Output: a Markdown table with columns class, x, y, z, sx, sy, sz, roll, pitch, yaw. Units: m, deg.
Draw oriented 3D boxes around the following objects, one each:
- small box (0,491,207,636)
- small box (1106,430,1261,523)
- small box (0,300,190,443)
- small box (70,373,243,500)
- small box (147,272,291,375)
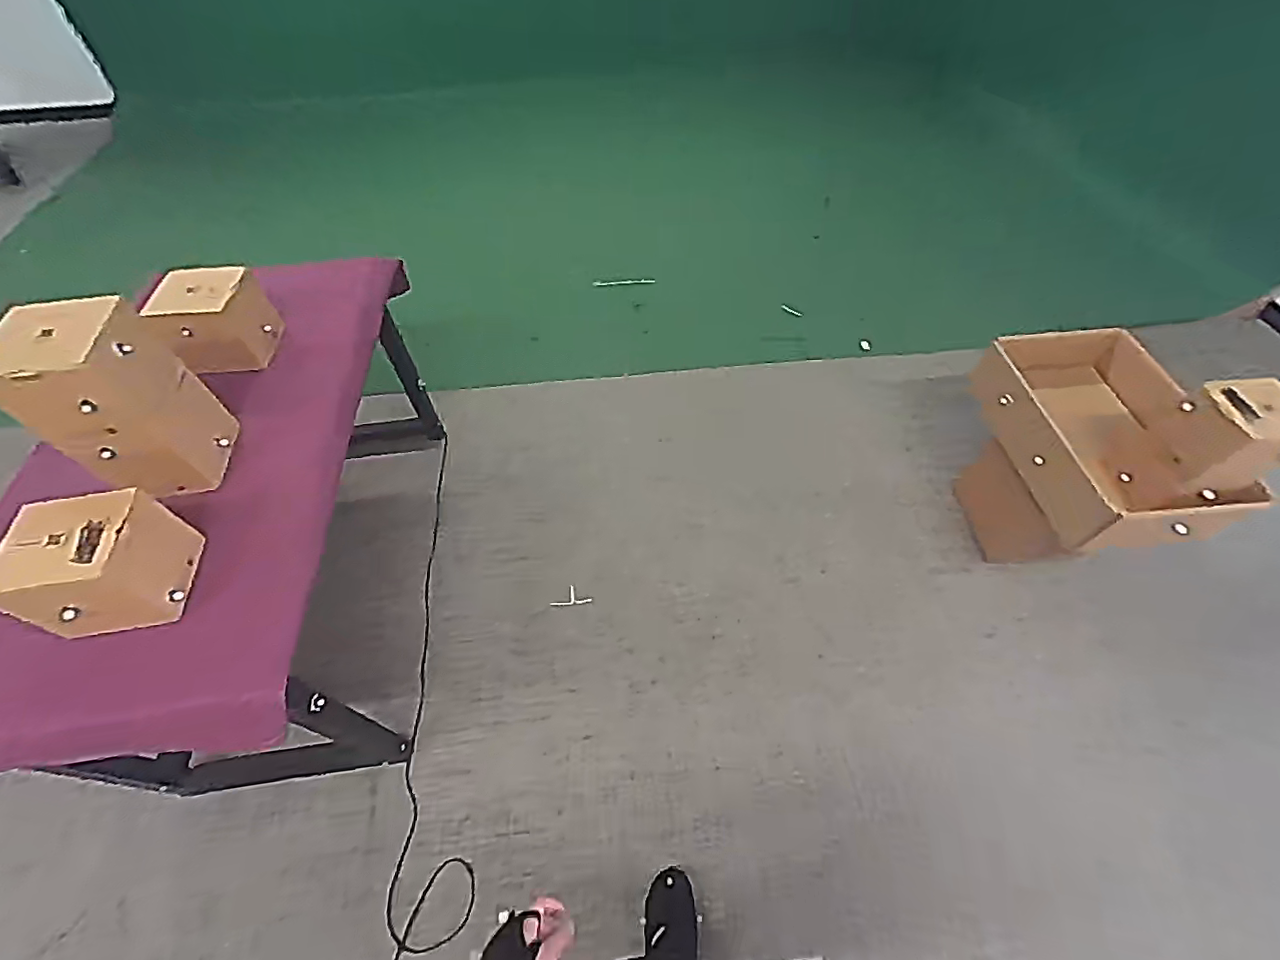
| class | x | y | z | sx | sy | sz | roll | pitch | yaw |
| --- | --- | --- | --- | --- | --- | --- | --- | --- | --- |
| small box | -0.872 | 0.141 | 0.891 | 0.179 | 0.176 | 0.168 | -9 | 54 | -4 |
| small box | 1.334 | -0.007 | 1.344 | 0.179 | 0.176 | 0.168 | -4 | 55 | -1 |
| small box | -0.924 | -0.177 | 0.923 | 0.168 | 0.176 | 0.179 | -8 | 55 | -6 |
| small box | -0.923 | -0.083 | 1.056 | 0.168 | 0.176 | 0.179 | -9 | 54 | -5 |
| small box | -0.965 | -0.360 | 1.259 | 0.179 | 0.176 | 0.168 | -4 | 54 | -2 |
